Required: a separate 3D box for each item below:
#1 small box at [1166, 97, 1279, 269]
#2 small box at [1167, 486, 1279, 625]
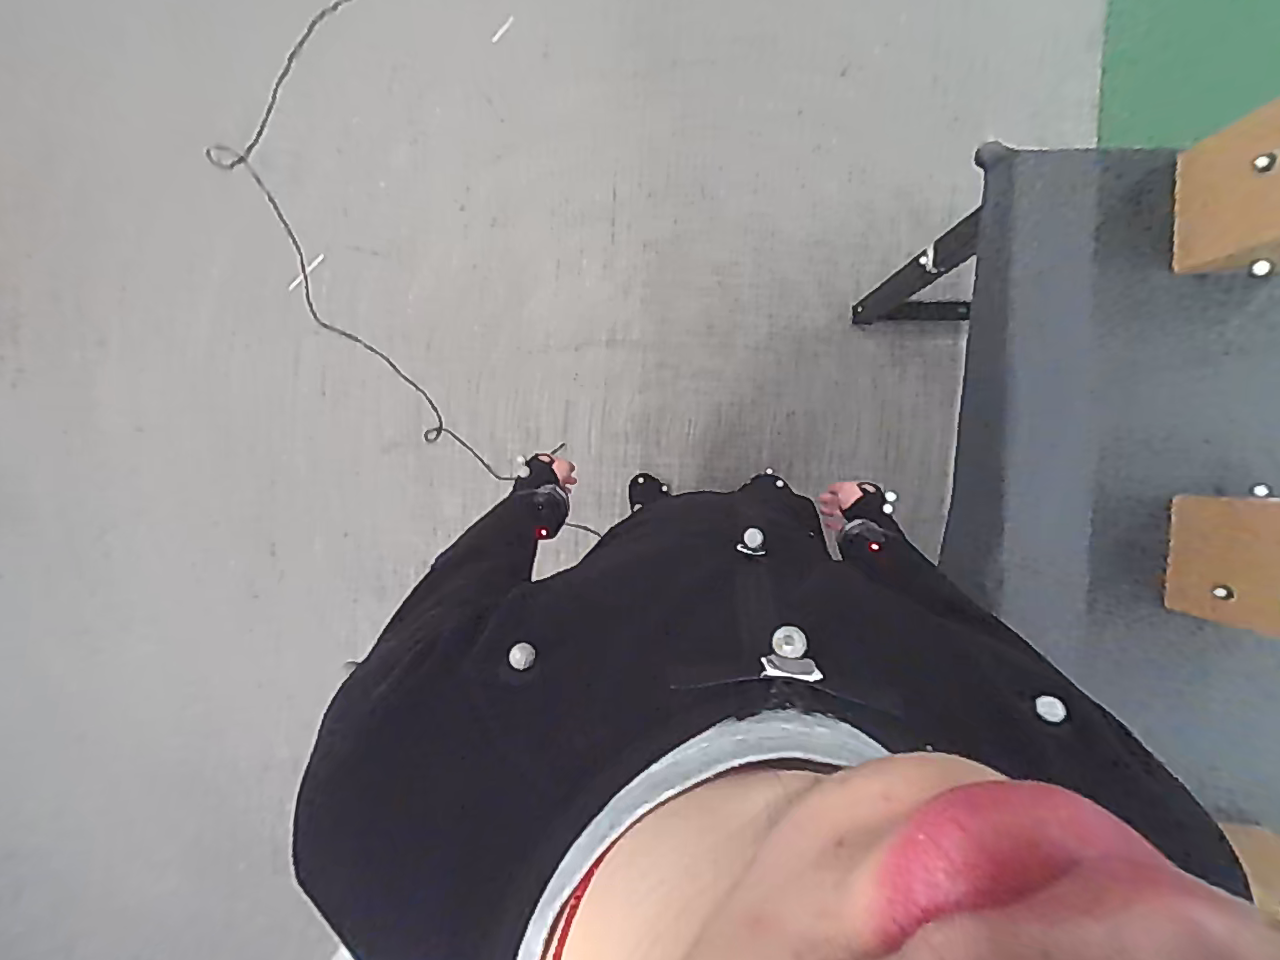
[{"bbox_3d":[0.874,-0.404,0.734,0.168,0.176,0.179,-2,93,-1],"label":"small box"},{"bbox_3d":[0.892,0.099,0.752,0.168,0.176,0.179,1,90,-2],"label":"small box"}]
